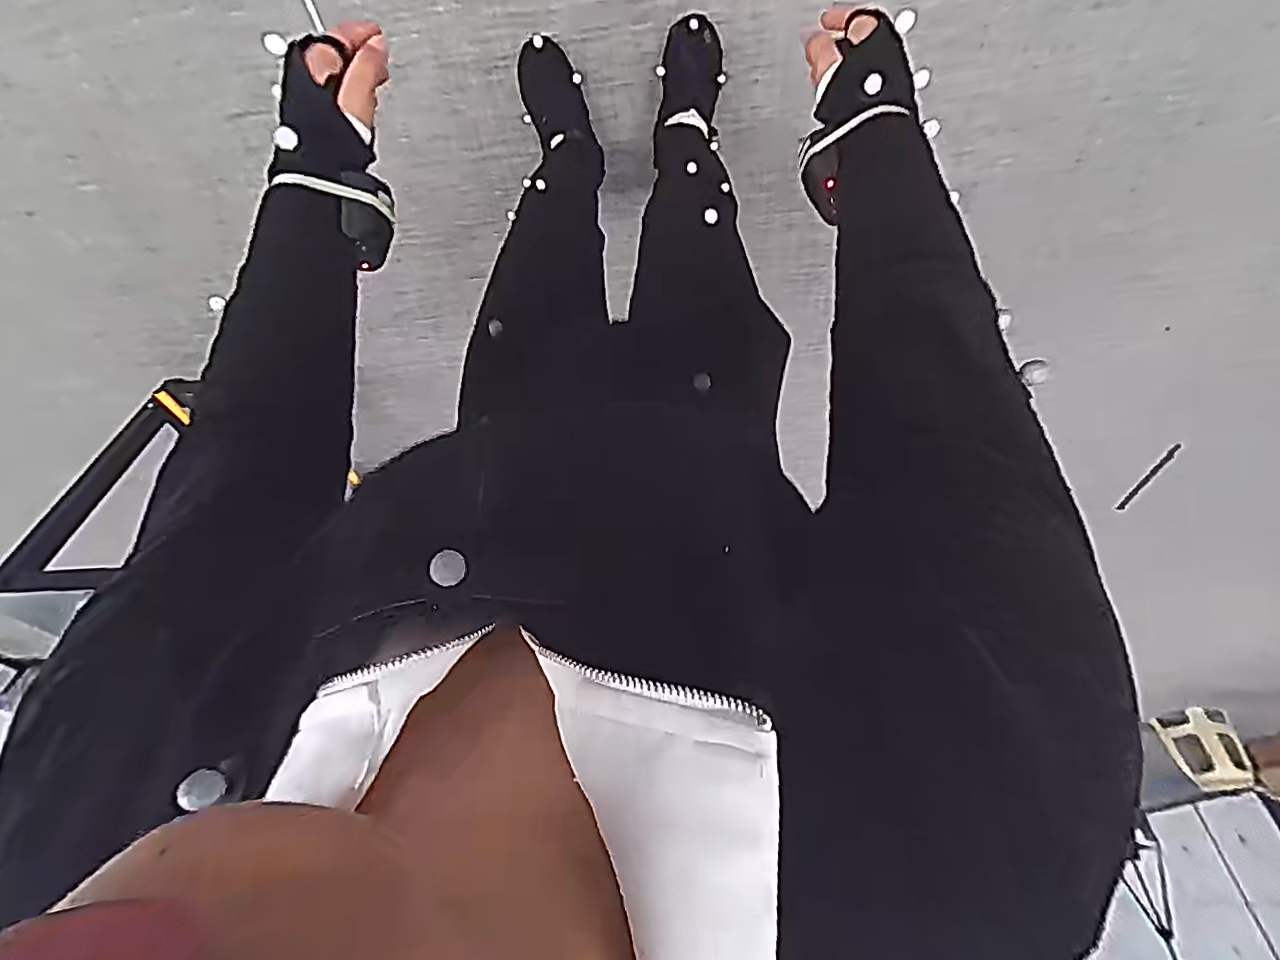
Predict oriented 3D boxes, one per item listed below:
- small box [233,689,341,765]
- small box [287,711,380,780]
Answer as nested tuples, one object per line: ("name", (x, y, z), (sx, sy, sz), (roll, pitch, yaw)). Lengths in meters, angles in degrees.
("small box", (-1.007, 0.710, 1.560), (0.168, 0.176, 0.179), (-2, 141, 5))
("small box", (-0.970, 0.847, 1.728), (0.179, 0.176, 0.168), (-4, 142, 5))
